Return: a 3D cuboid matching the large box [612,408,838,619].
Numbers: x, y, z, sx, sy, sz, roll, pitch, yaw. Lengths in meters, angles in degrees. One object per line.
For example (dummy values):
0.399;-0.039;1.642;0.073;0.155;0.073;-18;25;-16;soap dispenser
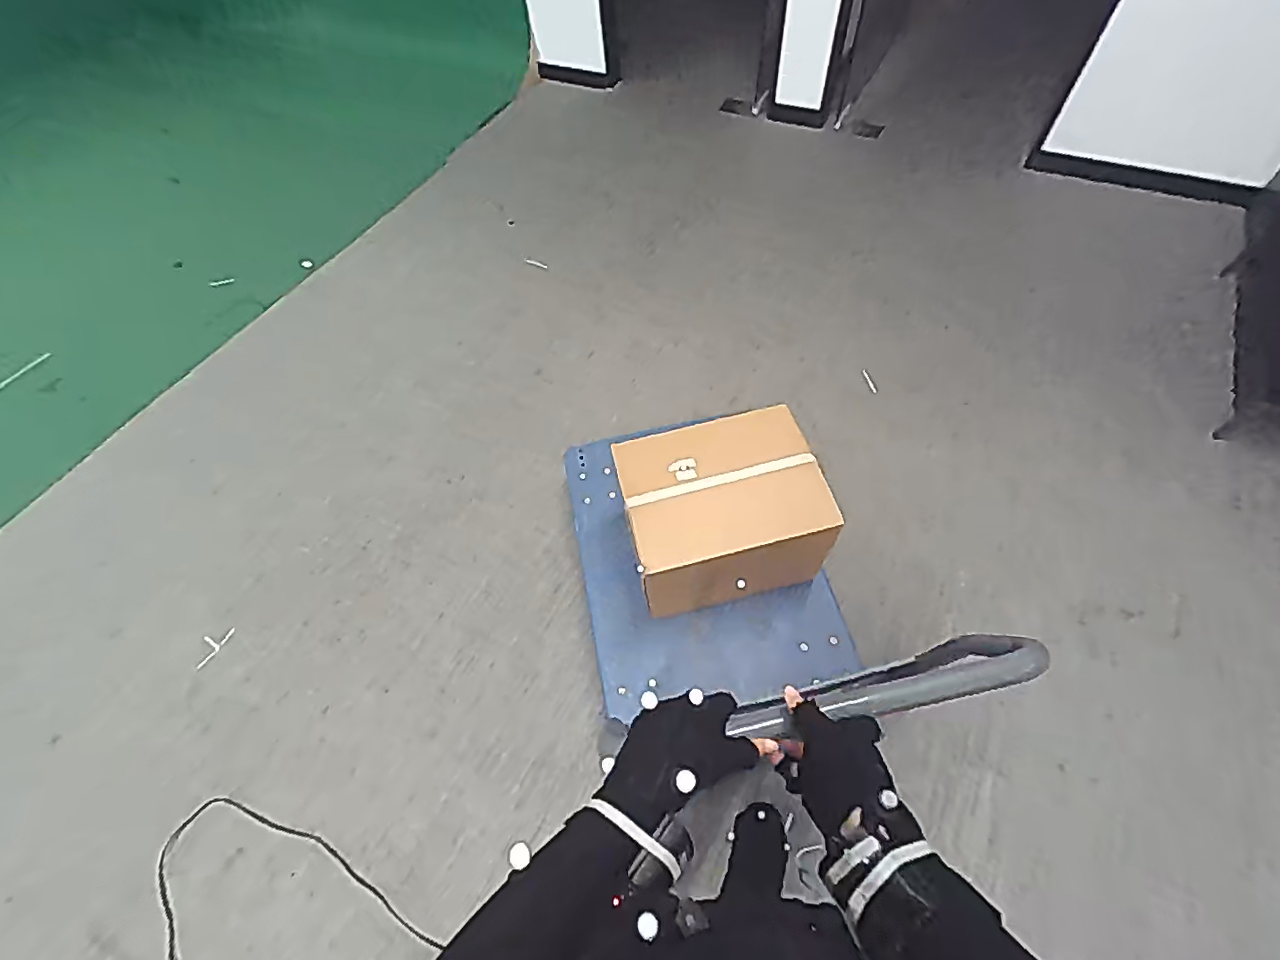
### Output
0.179;0.088;1.255;0.408;0.320;0.320;-15;58;-3;large box
